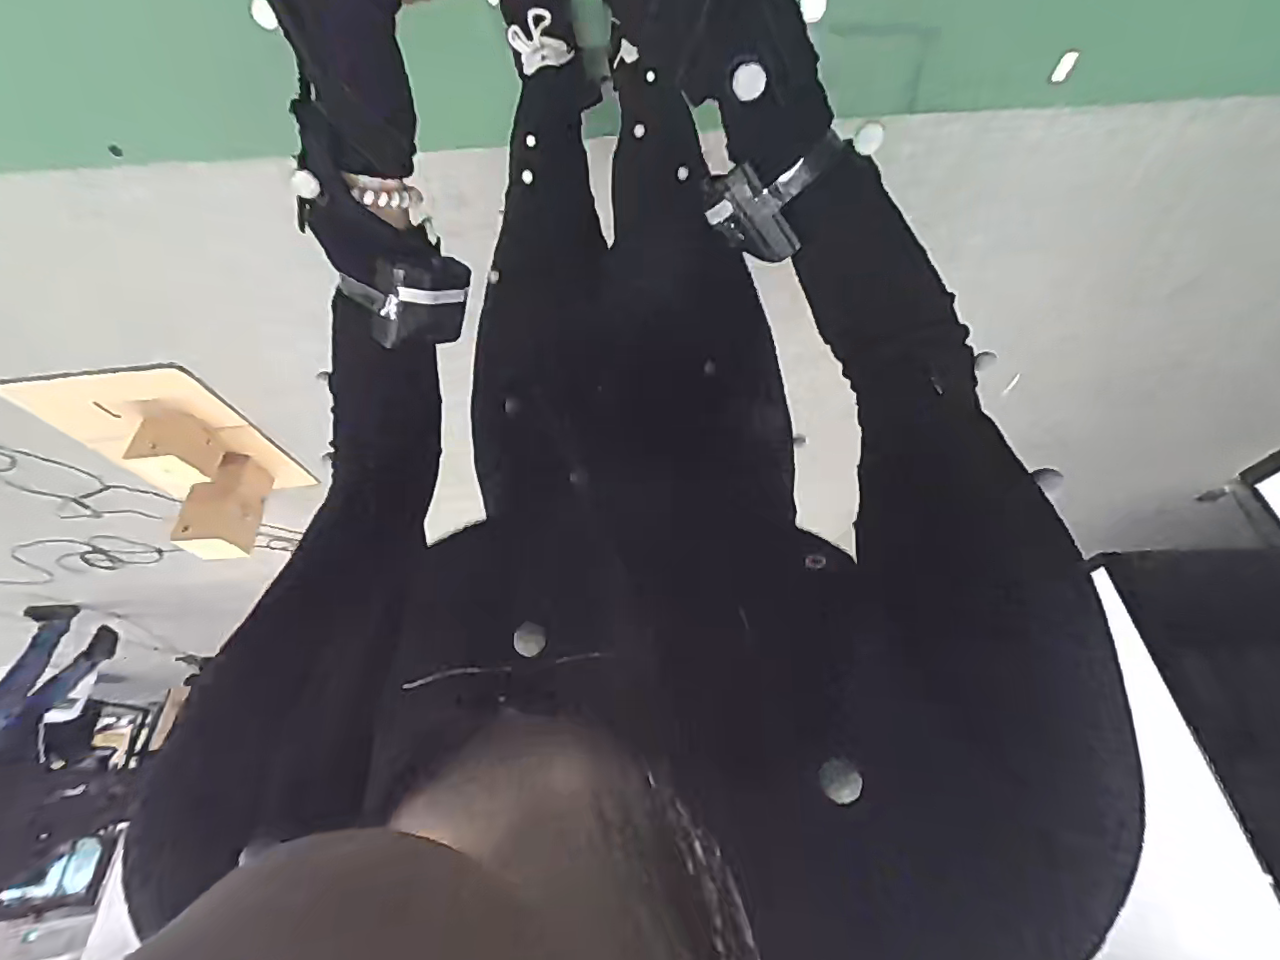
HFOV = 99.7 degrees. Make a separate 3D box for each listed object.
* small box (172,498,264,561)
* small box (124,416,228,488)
[{"bbox_3d":[-1.489,0.175,1.921,0.179,0.176,0.168,-4,151,0],"label":"small box"},{"bbox_3d":[-1.528,-0.092,1.795,0.179,0.176,0.168,-7,149,4],"label":"small box"}]
